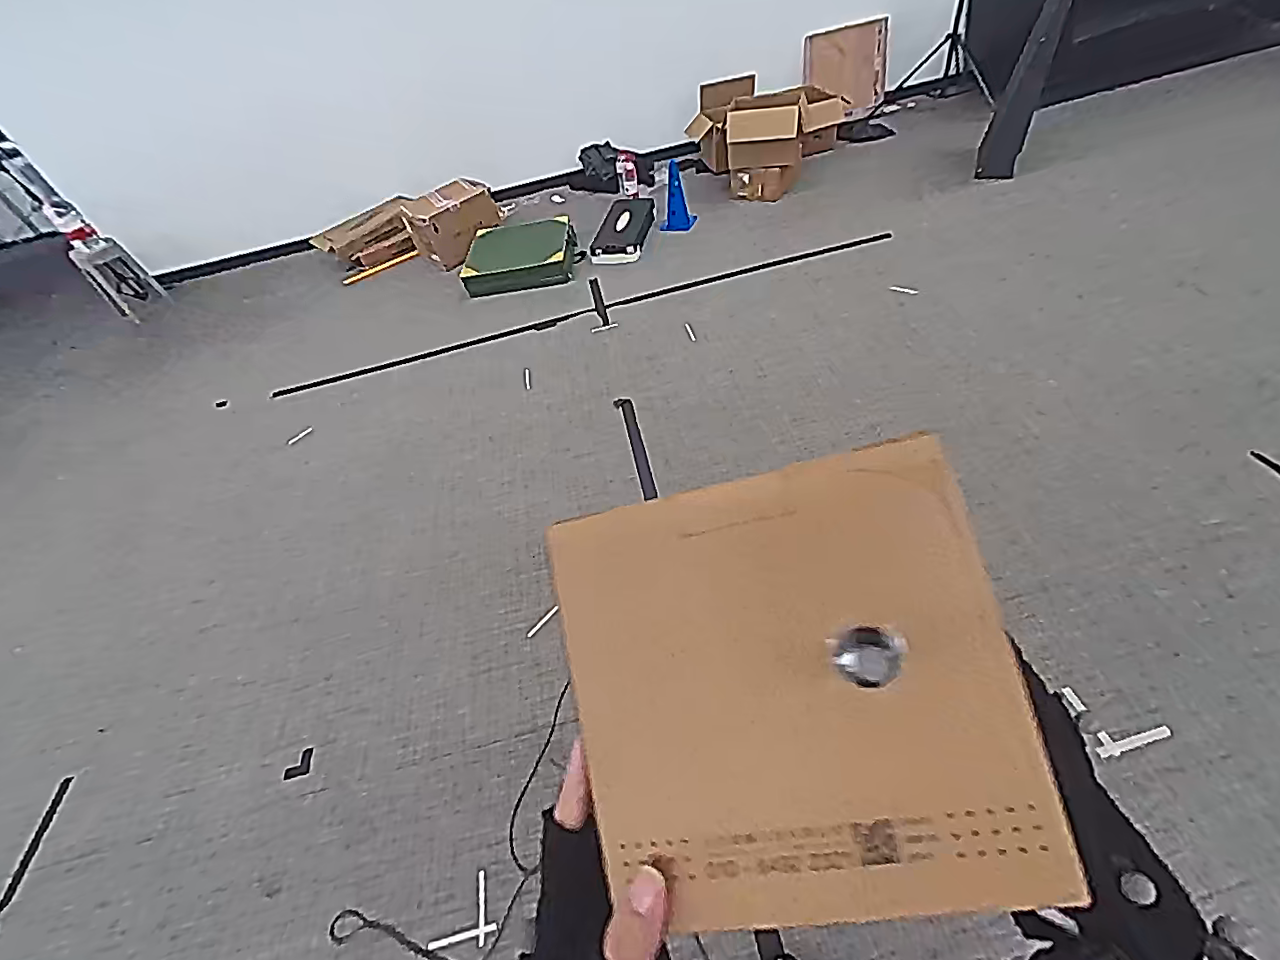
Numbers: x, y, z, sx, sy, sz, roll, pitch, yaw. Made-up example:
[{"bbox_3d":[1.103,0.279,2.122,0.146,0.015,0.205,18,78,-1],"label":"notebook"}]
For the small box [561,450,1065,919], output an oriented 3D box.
[{"bbox_3d":[0.077,0.096,0.290,0.168,0.179,0.176,-13,81,12],"label":"small box"}]
